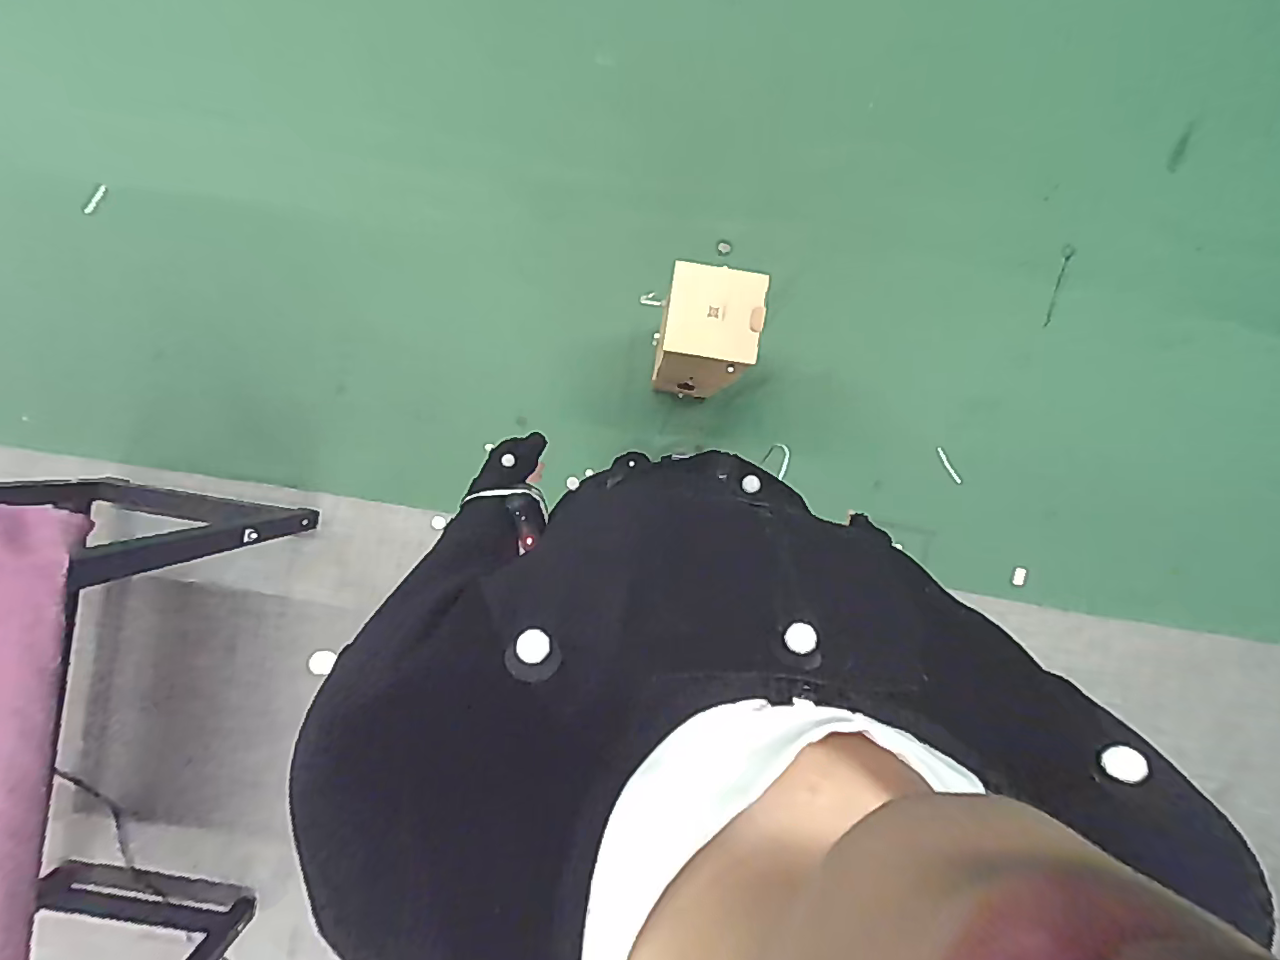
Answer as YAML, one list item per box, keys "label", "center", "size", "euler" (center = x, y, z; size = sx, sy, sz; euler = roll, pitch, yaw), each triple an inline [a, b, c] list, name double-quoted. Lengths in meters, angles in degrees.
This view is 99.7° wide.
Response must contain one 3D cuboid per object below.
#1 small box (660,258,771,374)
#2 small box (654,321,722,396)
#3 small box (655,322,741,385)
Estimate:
- label: "small box"
  center: [0.137, -0.309, 1.053]
  size: [0.179, 0.176, 0.168]
  euler: [8, 92, -2]
- label: "small box"
  center: [0.129, -0.321, 1.380]
  size: [0.168, 0.176, 0.179]
  euler: [9, 93, -1]
- label: "small box"
  center: [0.138, -0.315, 1.213]
  size: [0.179, 0.176, 0.168]
  euler: [12, 91, -2]
